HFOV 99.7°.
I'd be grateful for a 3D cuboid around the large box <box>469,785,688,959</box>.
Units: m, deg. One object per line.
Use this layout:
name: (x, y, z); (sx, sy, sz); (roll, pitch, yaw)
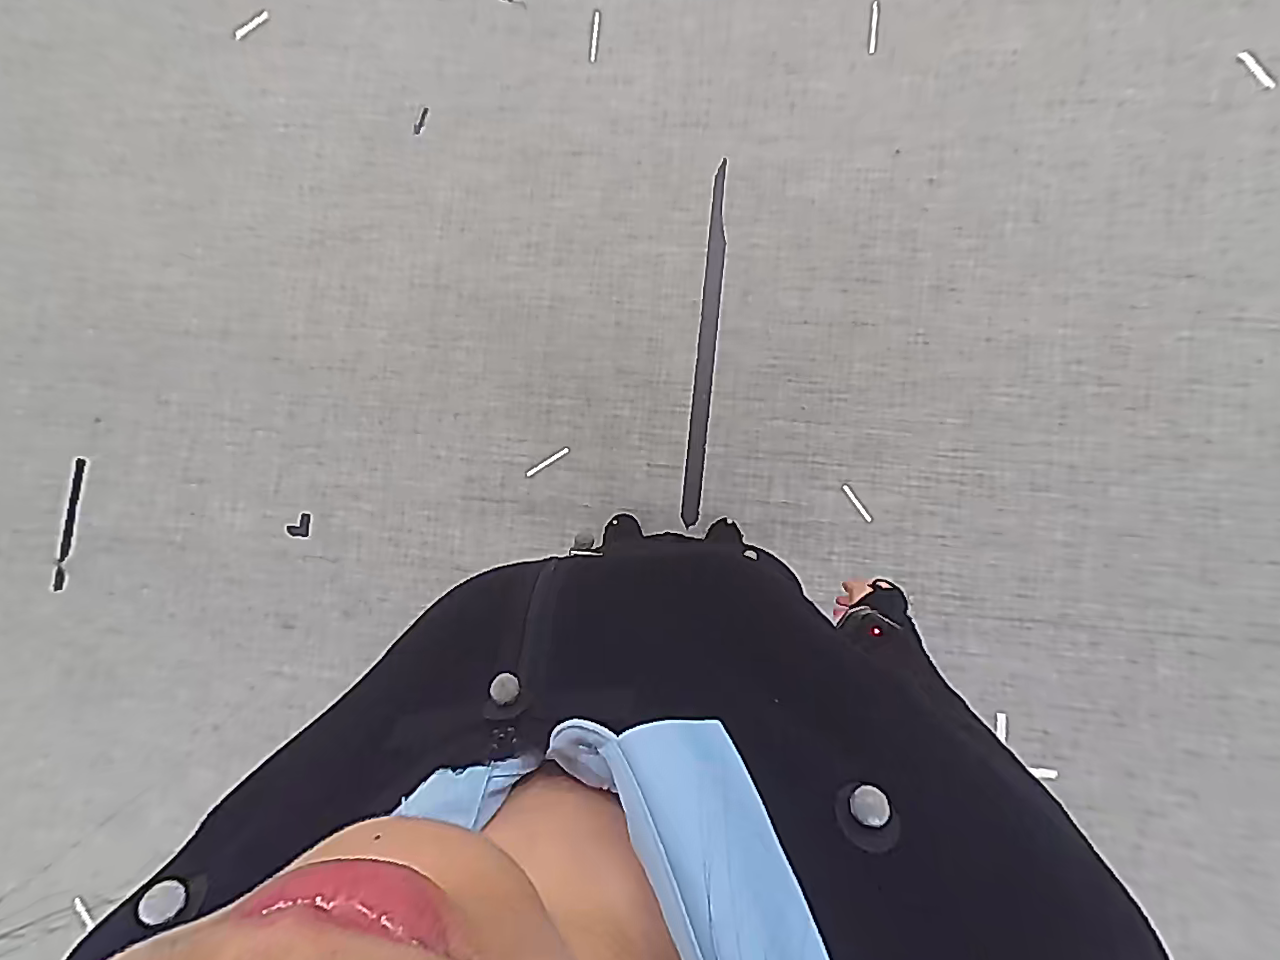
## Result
large box: (-0.106, 0.895, 1.143); (0.408, 0.320, 0.320); (5, 86, 6)
